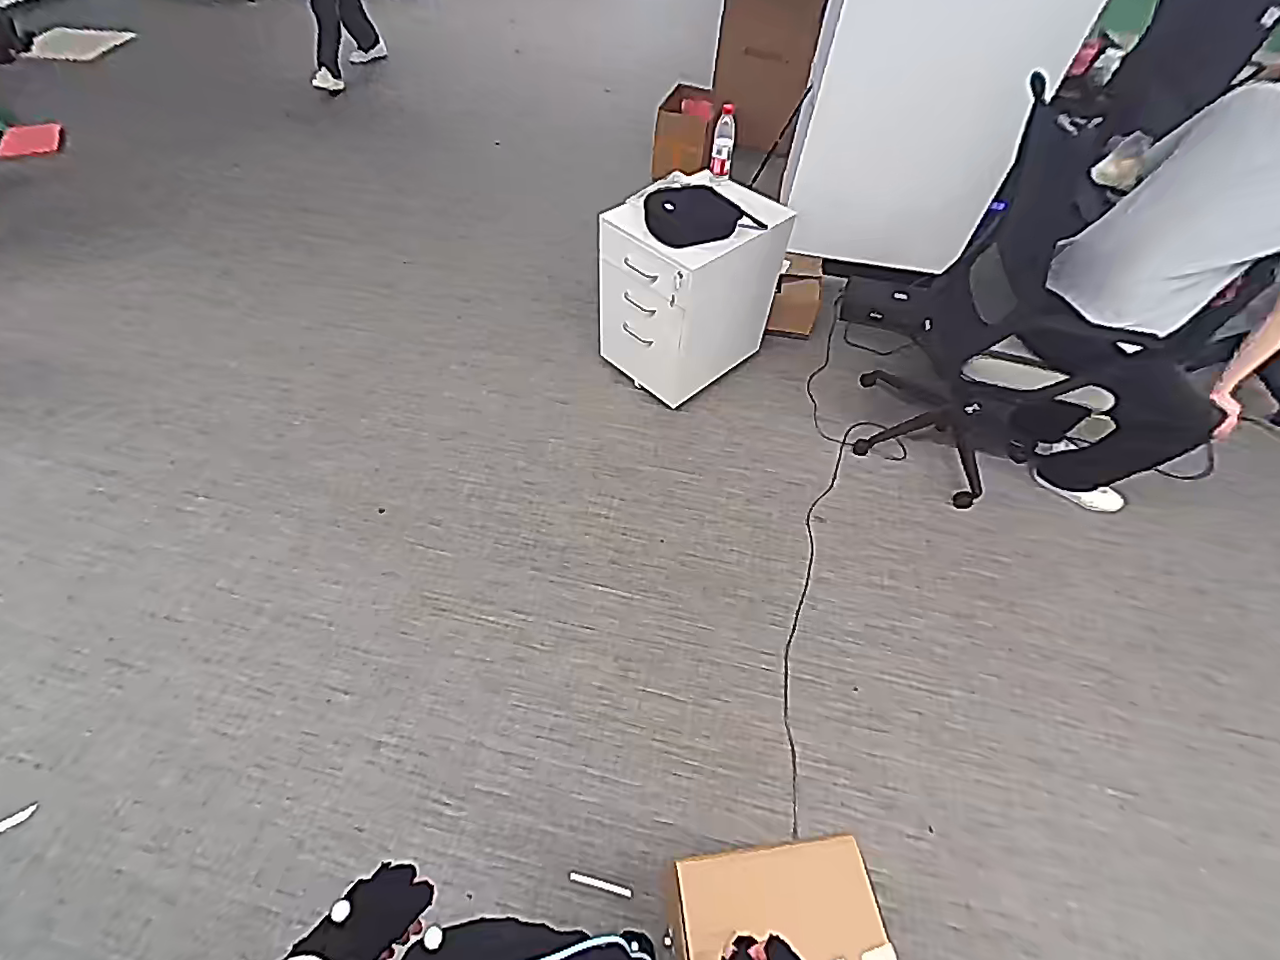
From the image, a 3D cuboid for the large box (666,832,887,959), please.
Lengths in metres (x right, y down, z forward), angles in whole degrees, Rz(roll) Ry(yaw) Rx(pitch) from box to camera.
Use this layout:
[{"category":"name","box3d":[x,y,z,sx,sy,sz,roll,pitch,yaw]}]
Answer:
[{"category":"large box","box3d":[0.229,0.858,0.969,0.320,0.408,0.320,-6,52,-4]}]
